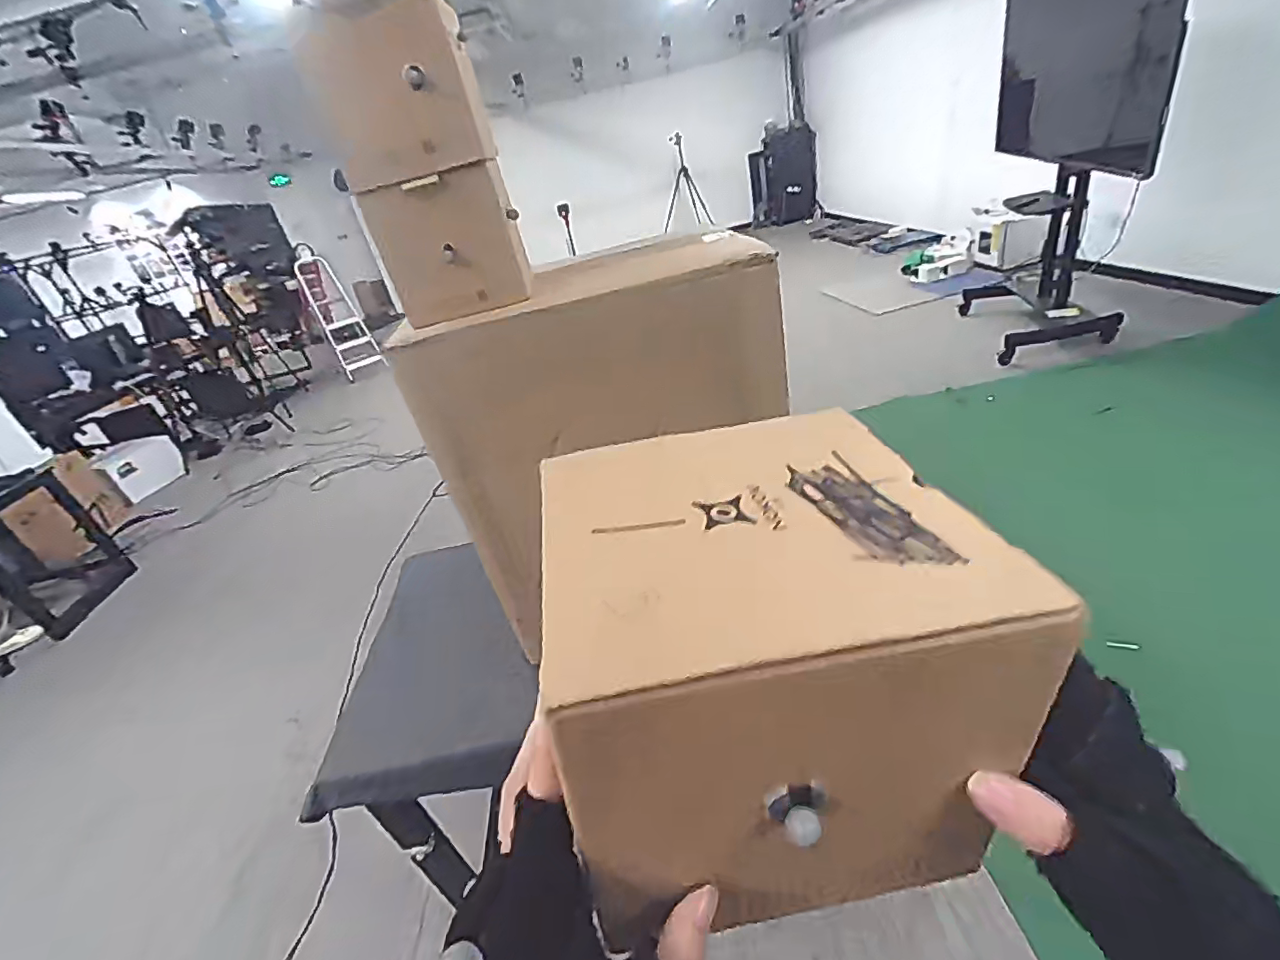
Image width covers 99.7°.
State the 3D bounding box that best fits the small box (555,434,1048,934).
[{"bbox_3d":[0.054,0.093,0.288,0.179,0.176,0.168,-9,28,-5],"label":"small box"}]

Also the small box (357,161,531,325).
[{"bbox_3d":[-0.254,-0.329,0.752,0.168,0.176,0.179,-15,33,-2],"label":"small box"}]

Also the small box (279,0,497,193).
[{"bbox_3d":[-0.283,-0.459,0.659,0.168,0.176,0.179,-13,32,-1],"label":"small box"}]
